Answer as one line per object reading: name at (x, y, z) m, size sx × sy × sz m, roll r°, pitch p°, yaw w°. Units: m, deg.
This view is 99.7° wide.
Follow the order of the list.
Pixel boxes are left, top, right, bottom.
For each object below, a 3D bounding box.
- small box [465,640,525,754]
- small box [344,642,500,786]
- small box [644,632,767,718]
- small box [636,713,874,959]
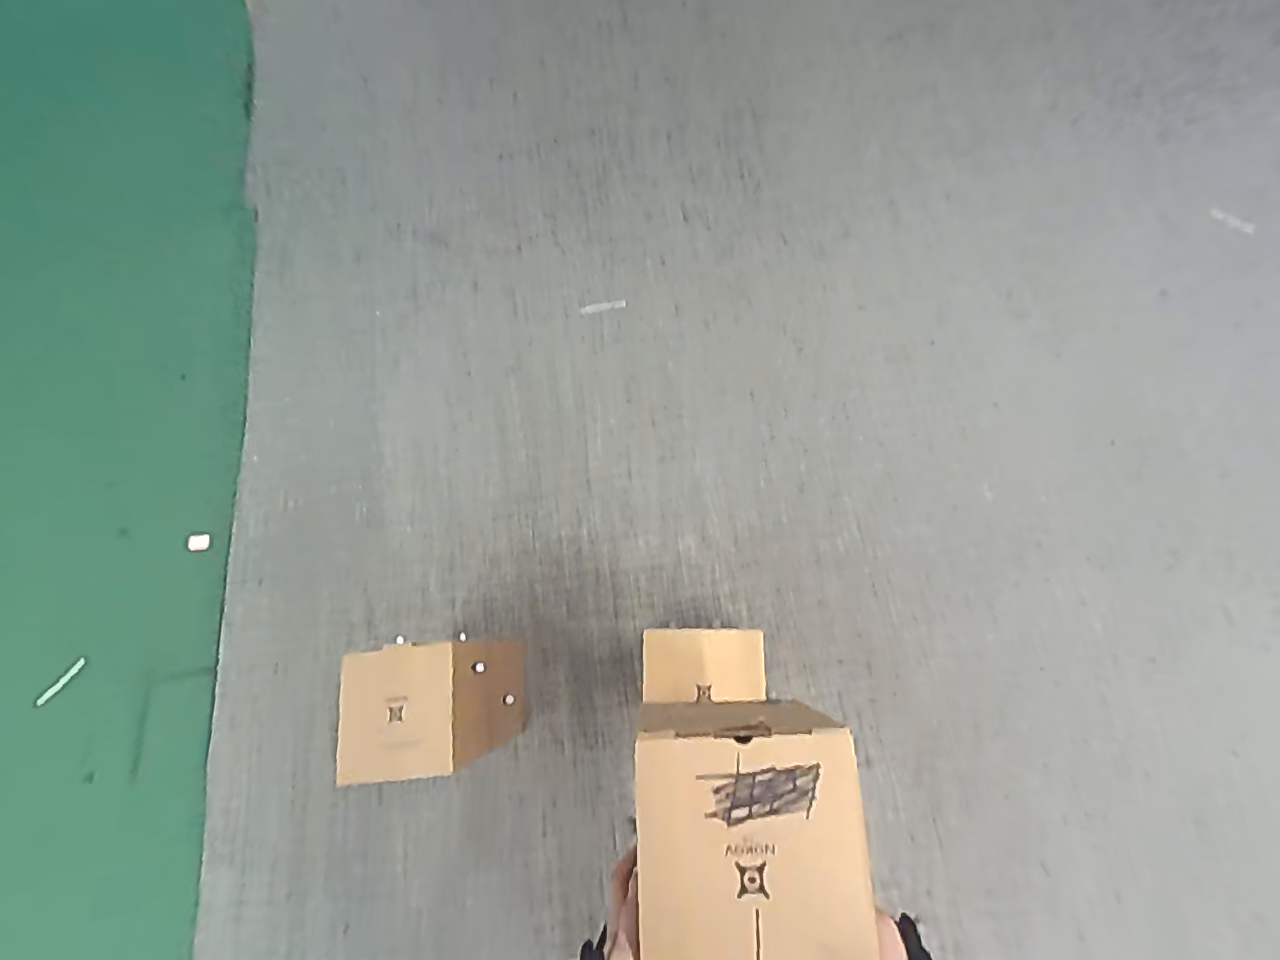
small box at (-0.313, 0.390, 0.989) m, size 0.168 × 0.176 × 0.179 m, roll -5°, pitch 75°, yaw 4°
small box at (-0.324, 0.347, 0.833) m, size 0.168 × 0.176 × 0.179 m, roll -8°, pitch 75°, yaw 4°
small box at (0.093, 0.319, 0.803) m, size 0.168 × 0.176 × 0.179 m, roll -1°, pitch 75°, yaw 5°
small box at (0.080, 0.303, 0.462) m, size 0.168 × 0.176 × 0.179 m, roll -2°, pitch 77°, yaw 1°
